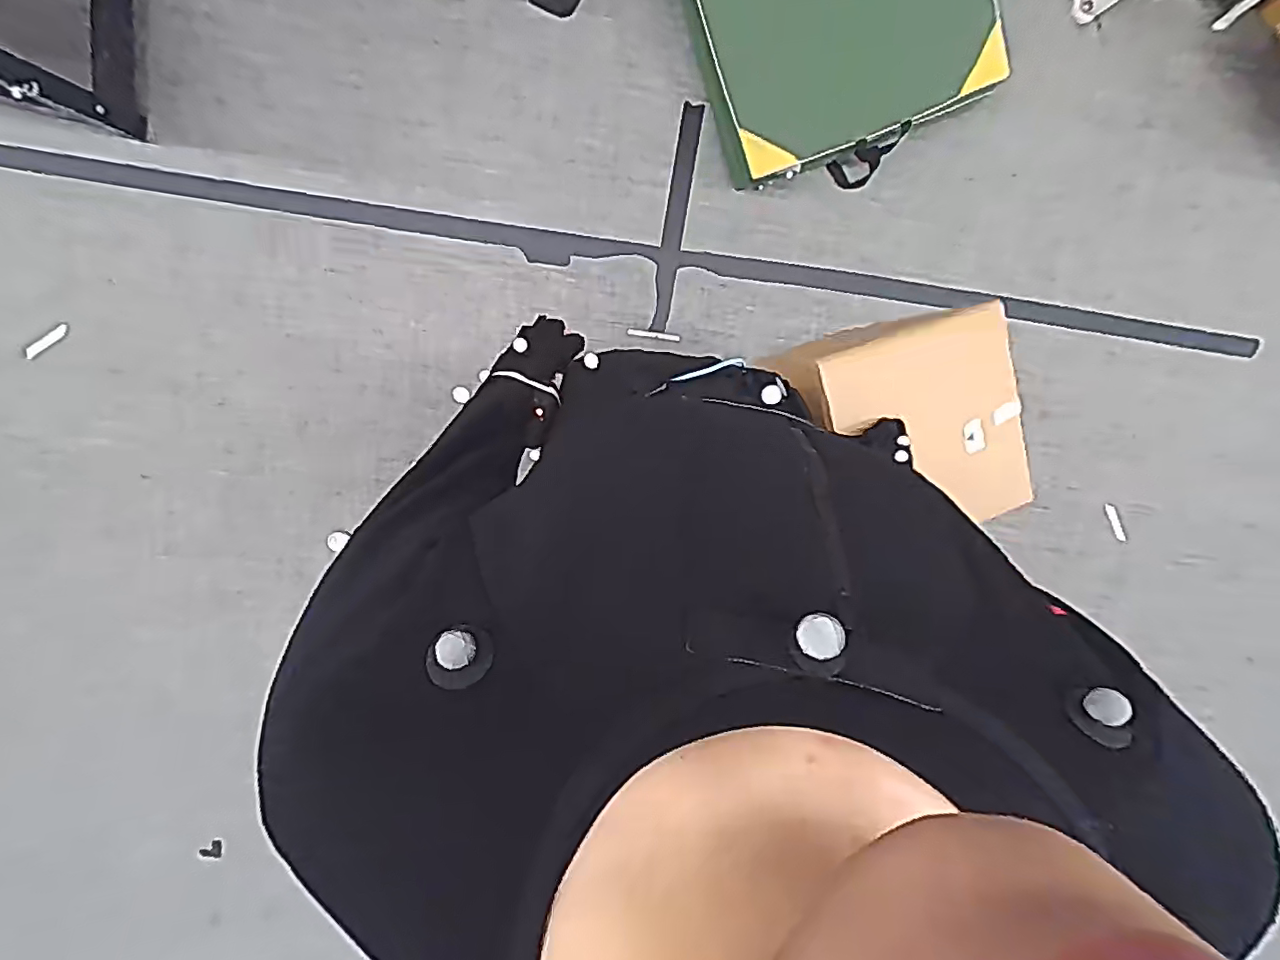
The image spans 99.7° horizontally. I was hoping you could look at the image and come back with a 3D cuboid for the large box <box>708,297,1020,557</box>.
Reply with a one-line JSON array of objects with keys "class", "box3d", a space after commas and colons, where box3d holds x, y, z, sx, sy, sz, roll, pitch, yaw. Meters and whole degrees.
[{"class": "large box", "box3d": [0.370, -0.101, 0.980, 0.320, 0.408, 0.320, -20, 101, -9]}]
